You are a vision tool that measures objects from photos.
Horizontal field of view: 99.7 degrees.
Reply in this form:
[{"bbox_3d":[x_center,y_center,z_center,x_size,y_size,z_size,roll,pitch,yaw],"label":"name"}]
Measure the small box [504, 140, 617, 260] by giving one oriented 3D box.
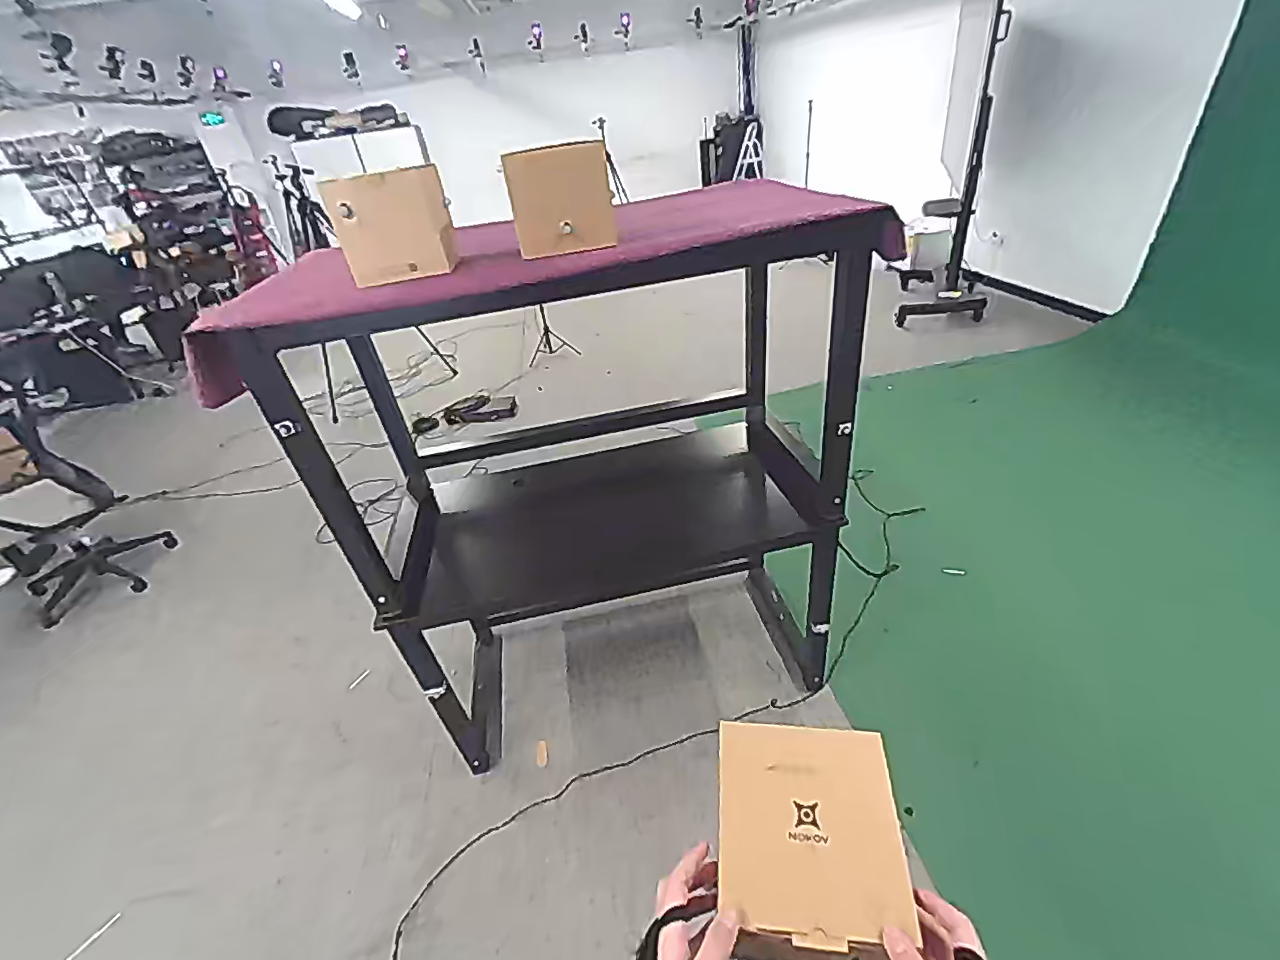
[{"bbox_3d":[-0.141,-0.517,0.994,0.179,0.176,0.168,-11,33,-5],"label":"small box"}]
